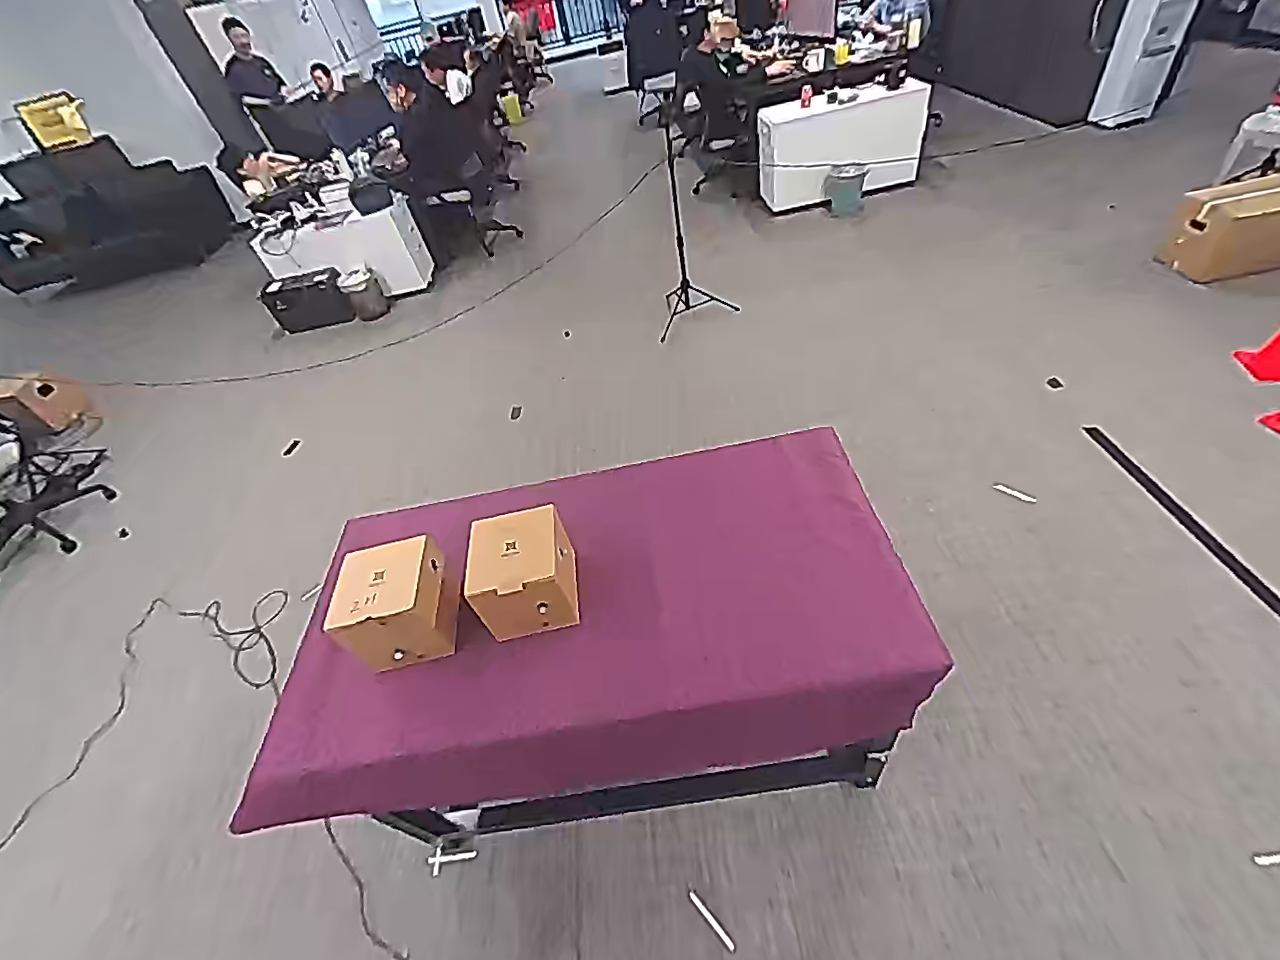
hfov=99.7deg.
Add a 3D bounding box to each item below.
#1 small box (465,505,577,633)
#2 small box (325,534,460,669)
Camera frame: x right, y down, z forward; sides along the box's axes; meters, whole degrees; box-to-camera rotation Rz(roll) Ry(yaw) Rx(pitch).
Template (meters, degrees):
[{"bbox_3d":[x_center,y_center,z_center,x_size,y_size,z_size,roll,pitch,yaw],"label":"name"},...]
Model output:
[{"bbox_3d":[-0.222,0.180,1.051,0.168,0.176,0.179,-12,44,2],"label":"small box"},{"bbox_3d":[-0.466,0.237,1.052,0.168,0.176,0.179,-14,45,2],"label":"small box"}]
